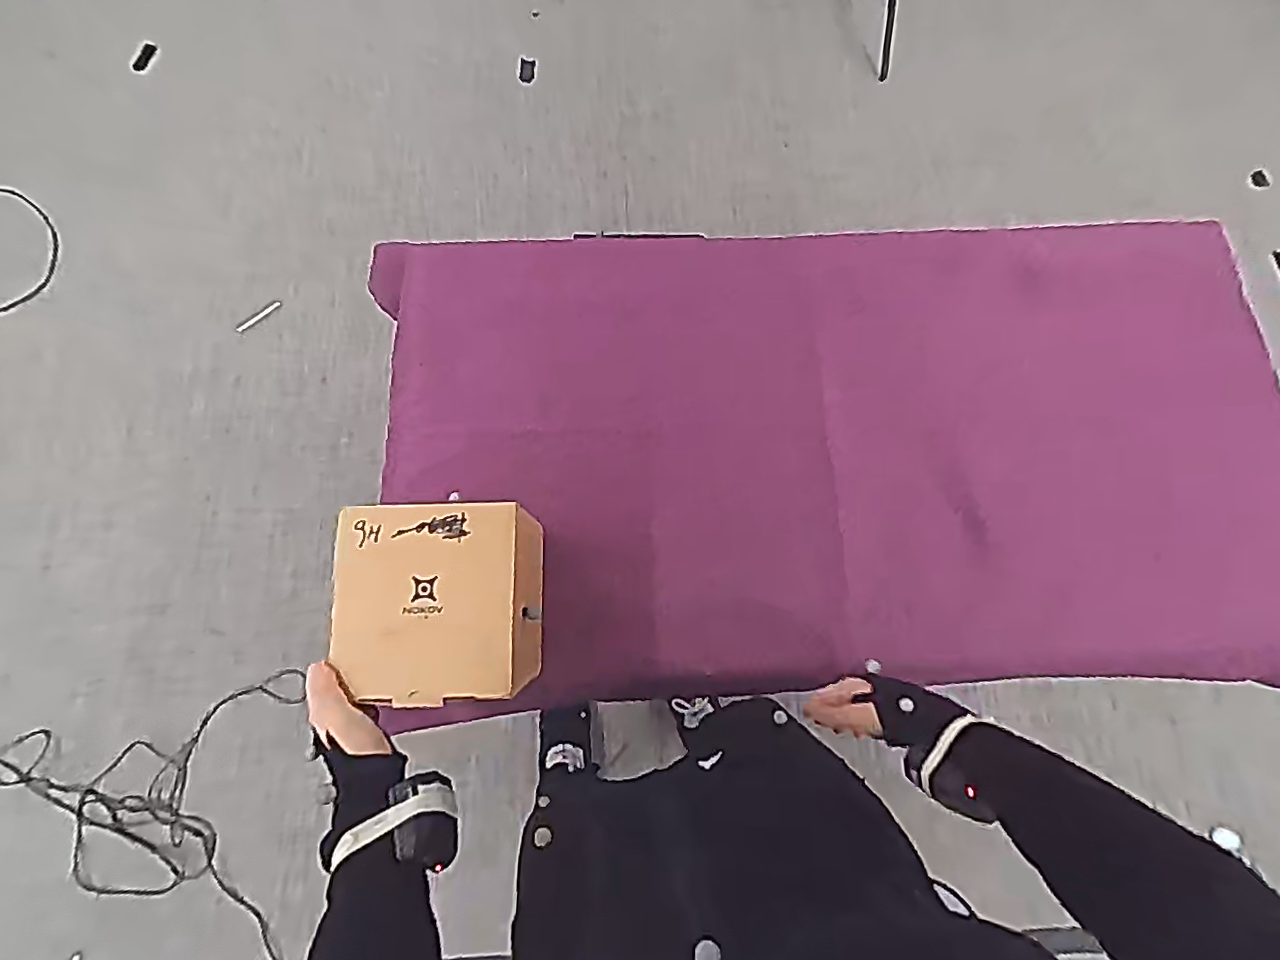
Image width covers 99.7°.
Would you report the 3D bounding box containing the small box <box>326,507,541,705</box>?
[{"bbox_3d":[-0.198,0.126,0.570,0.168,0.176,0.179,-1,78,-2],"label":"small box"}]
